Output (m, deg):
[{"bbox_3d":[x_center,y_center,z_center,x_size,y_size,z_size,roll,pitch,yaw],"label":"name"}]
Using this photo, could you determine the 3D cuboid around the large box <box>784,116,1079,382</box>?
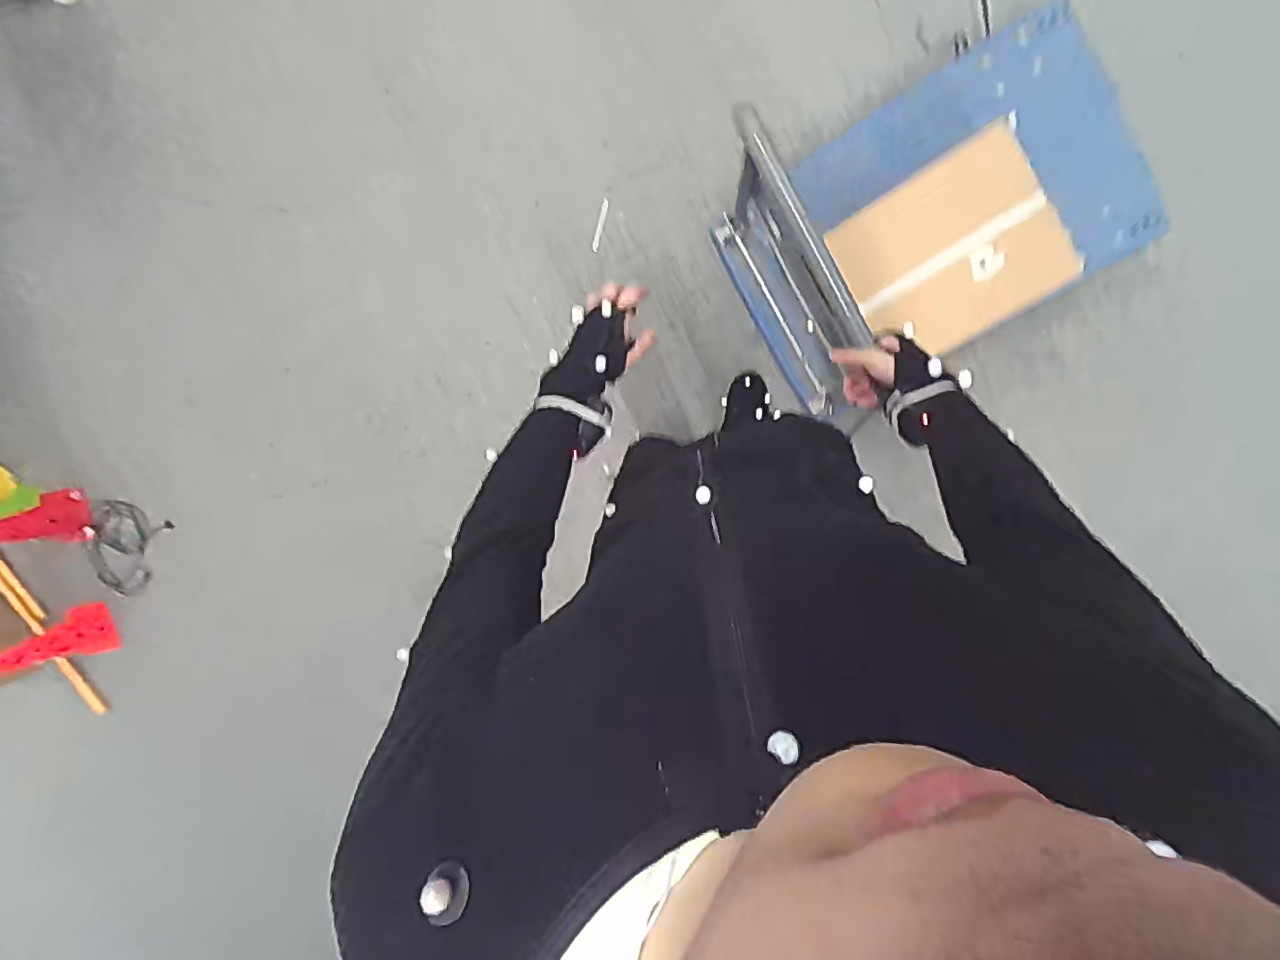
[{"bbox_3d":[0.575,-0.445,1.156,0.408,0.320,0.320,-31,96,12],"label":"large box"}]
